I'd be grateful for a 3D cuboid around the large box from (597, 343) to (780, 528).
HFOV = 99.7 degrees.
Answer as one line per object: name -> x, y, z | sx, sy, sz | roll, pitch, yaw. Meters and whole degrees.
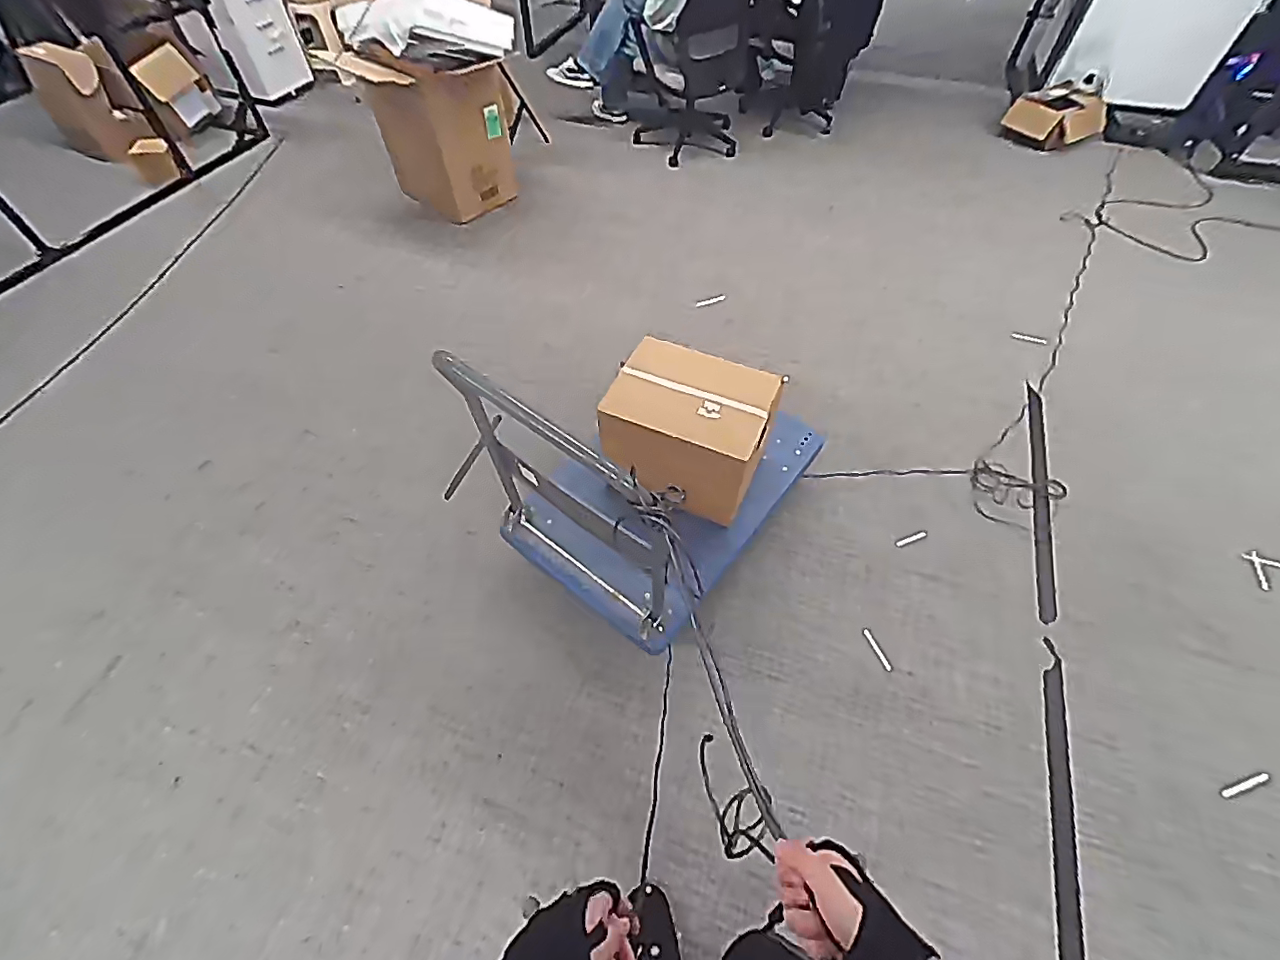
large box -> 0.126, -0.124, 1.510 | 0.408, 0.320, 0.320 | 21, 57, 13
